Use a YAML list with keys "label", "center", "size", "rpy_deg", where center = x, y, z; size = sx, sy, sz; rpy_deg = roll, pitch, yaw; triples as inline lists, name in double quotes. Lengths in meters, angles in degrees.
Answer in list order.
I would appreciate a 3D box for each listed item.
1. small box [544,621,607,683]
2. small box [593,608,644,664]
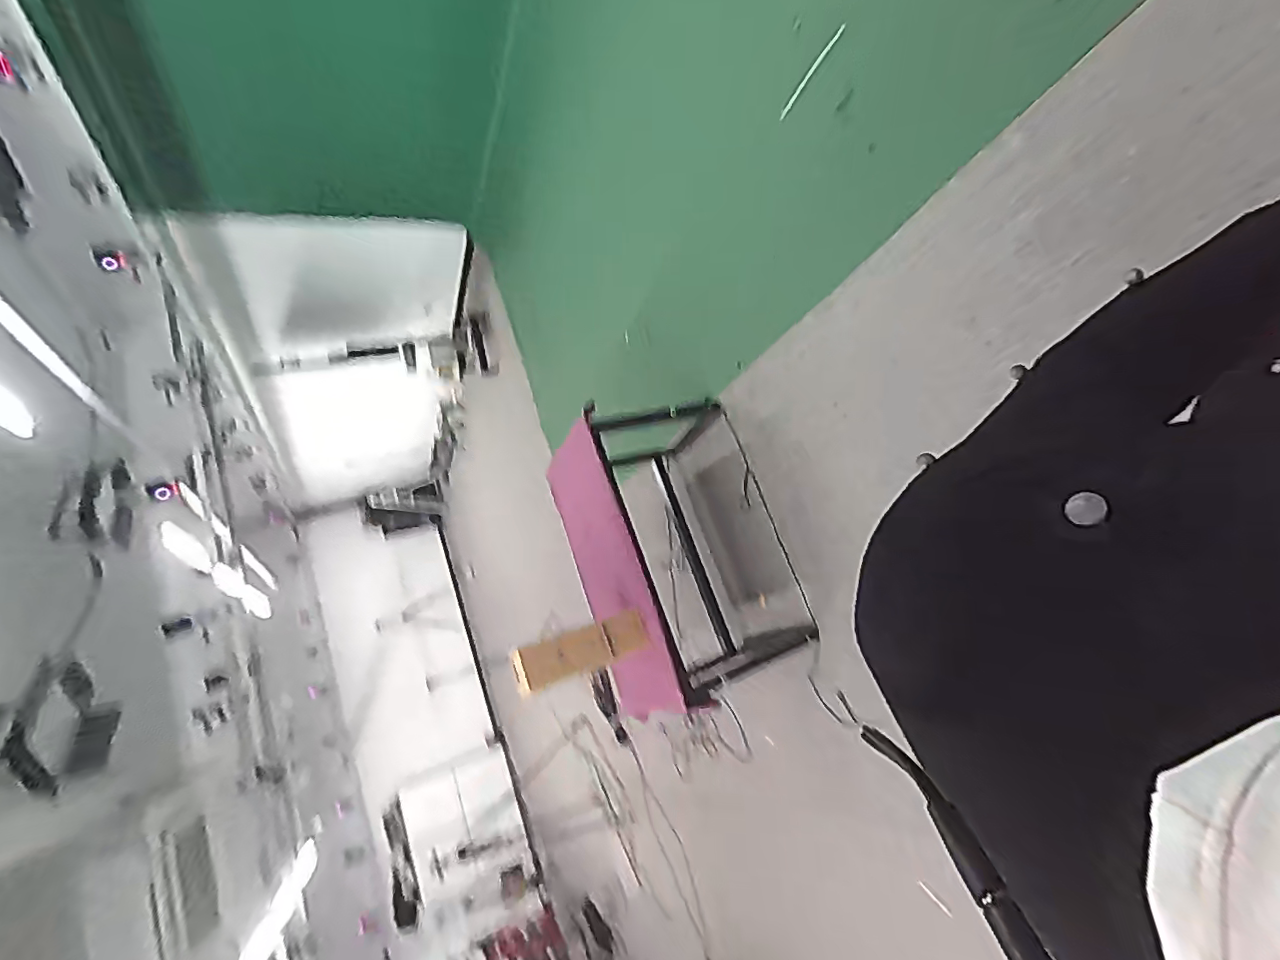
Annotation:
- label: "small box"
  center: [-0.242, 0.650, 2.048]
  size: [0.179, 0.176, 0.168]
  rpy_deg: [-49, 58, 56]
- label: "small box"
  center: [-0.107, 0.625, 2.143]
  size: [0.168, 0.176, 0.179]
  rpy_deg: [66, 150, 17]
